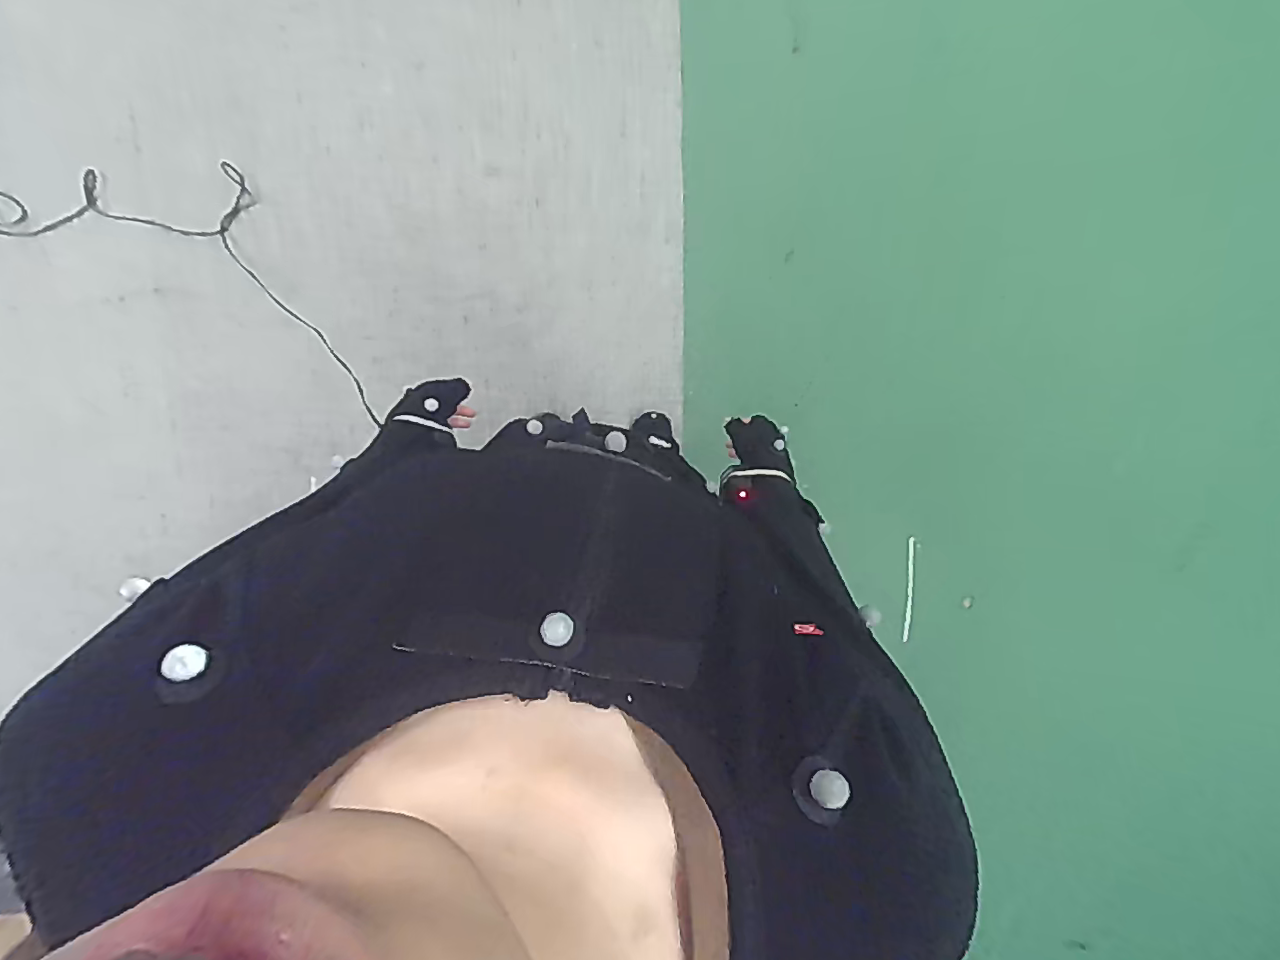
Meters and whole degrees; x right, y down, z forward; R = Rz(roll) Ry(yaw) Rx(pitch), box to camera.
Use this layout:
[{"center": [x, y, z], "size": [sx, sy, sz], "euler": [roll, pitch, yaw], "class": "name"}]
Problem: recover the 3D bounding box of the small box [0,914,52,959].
[{"center": [-0.923, 0.718, 0.700], "size": [0.168, 0.176, 0.179], "euler": [-3, 98, -4], "class": "small box"}]
